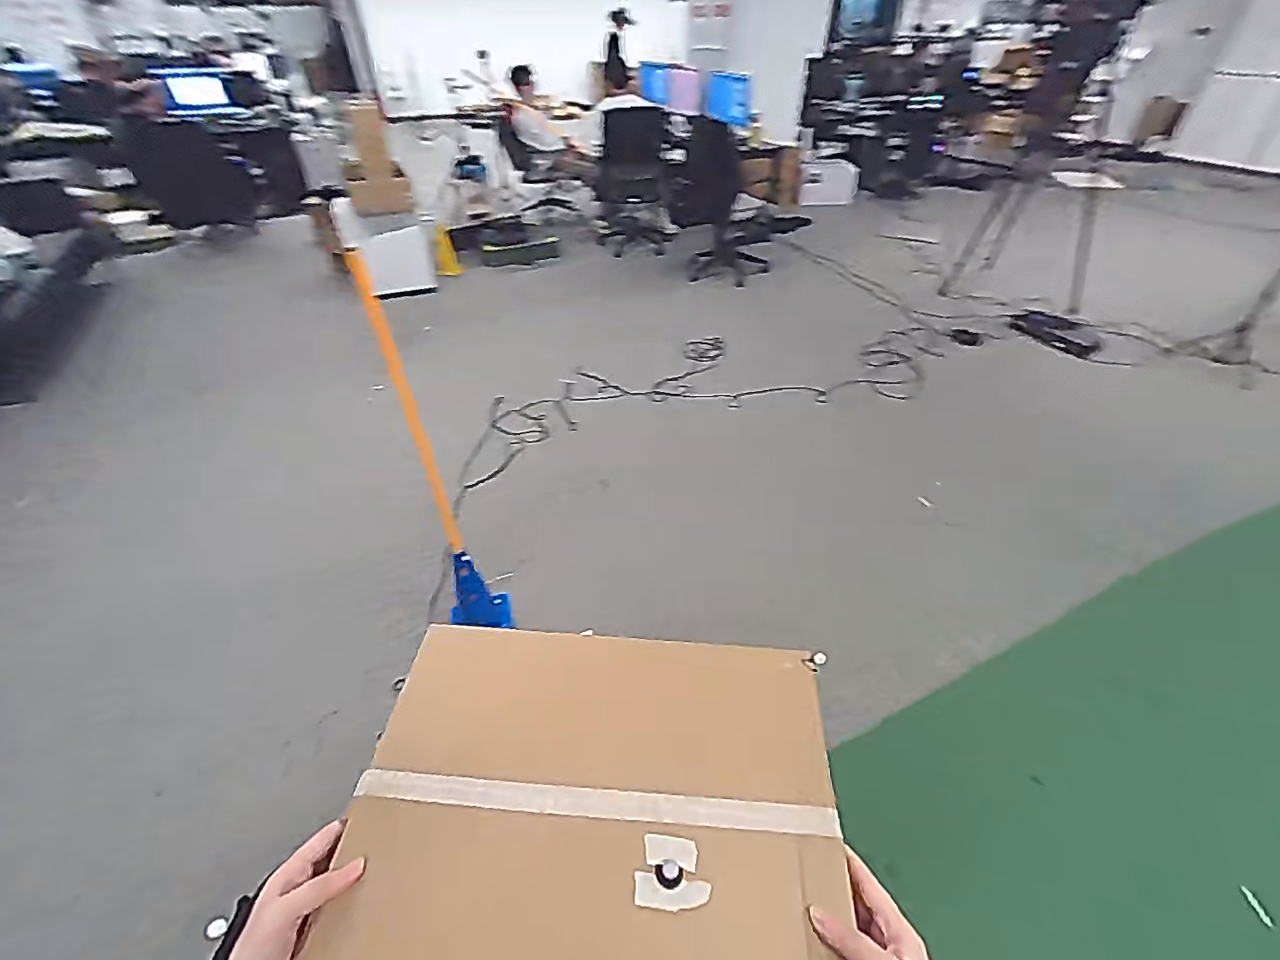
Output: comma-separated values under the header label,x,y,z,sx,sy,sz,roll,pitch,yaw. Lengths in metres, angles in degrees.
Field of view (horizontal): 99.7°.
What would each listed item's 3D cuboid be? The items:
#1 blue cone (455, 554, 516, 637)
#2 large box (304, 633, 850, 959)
label,x,y,z,sx,sy,sz,roll,pitch,yaw
blue cone,-0.519,0.364,1.701,0.193,0.380,0.192,-11,42,-12
large box,-0.043,0.386,0.568,0.408,0.320,0.320,3,44,2
